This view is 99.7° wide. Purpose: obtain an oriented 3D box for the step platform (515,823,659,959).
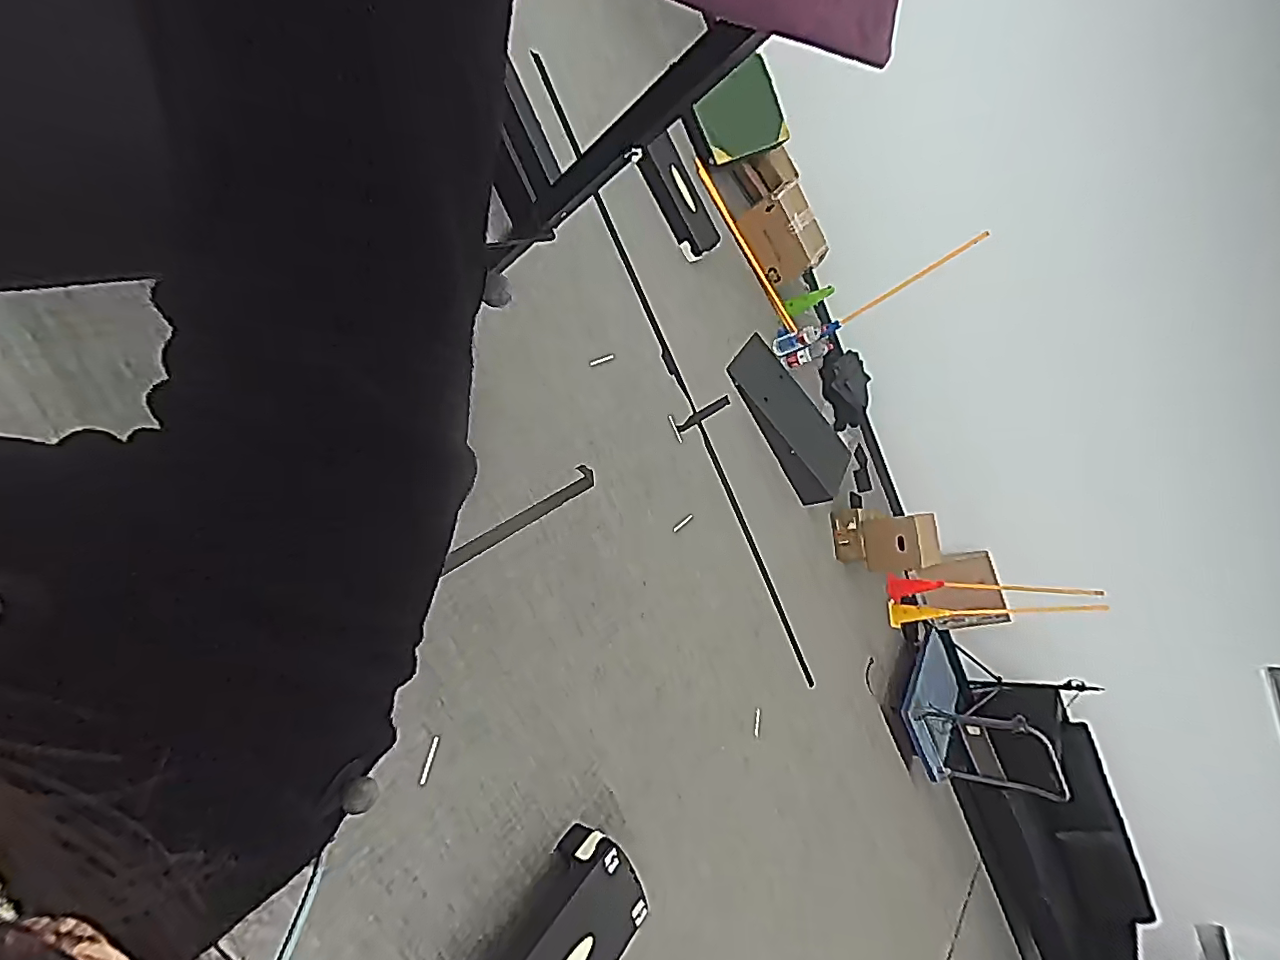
[{"bbox_3d":[-0.235,1.323,1.497,0.684,0.204,0.286,-26,97,-47],"label":"step platform"}]
